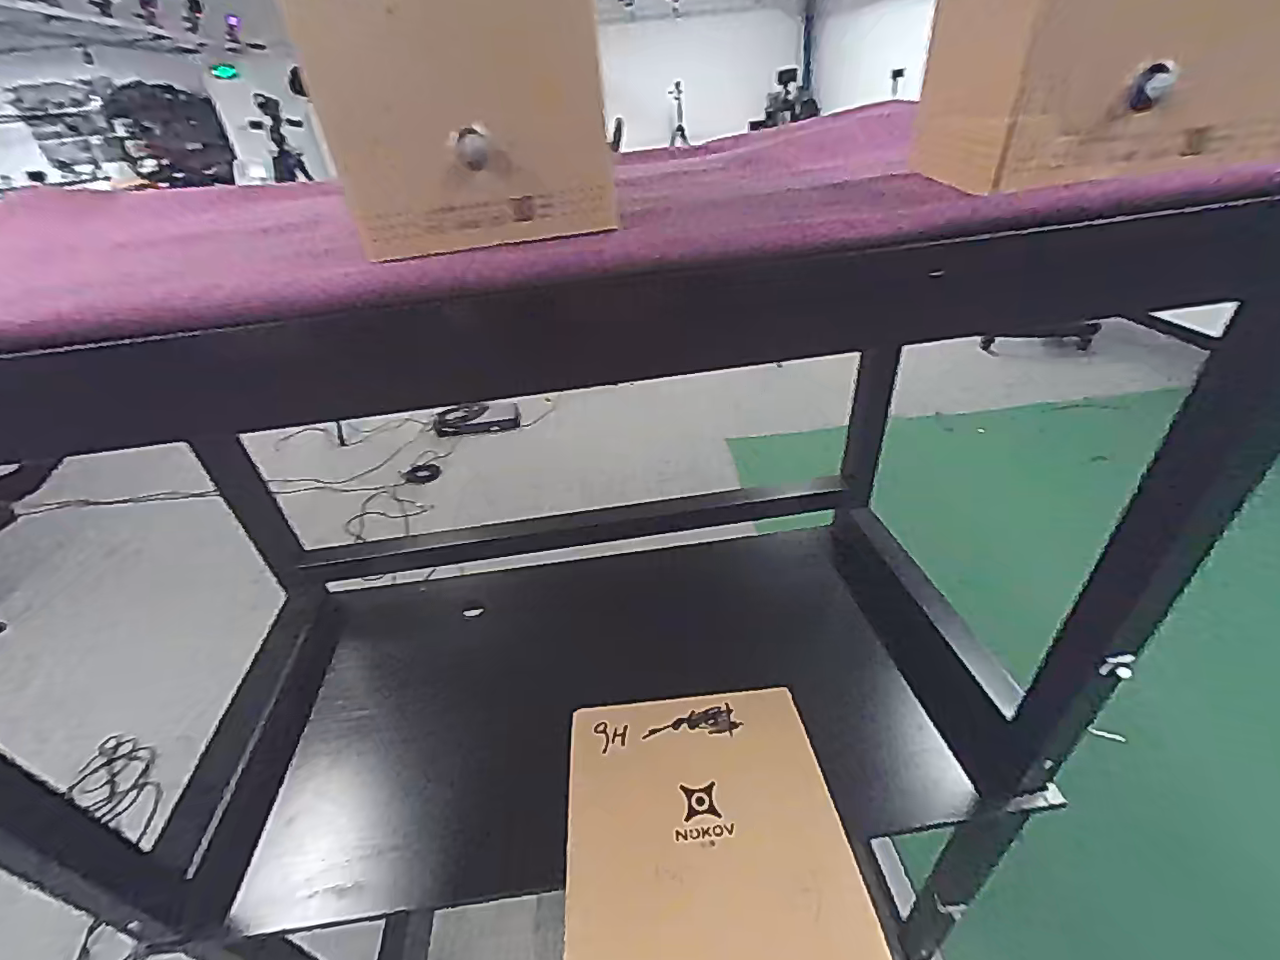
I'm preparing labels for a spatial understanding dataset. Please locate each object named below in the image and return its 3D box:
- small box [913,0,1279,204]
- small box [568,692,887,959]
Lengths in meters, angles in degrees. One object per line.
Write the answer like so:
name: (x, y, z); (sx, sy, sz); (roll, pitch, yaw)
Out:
small box: (0.301, -0.288, 0.353); (0.168, 0.176, 0.179); (-2, 37, 6)
small box: (0.045, 0.280, 0.373); (0.168, 0.176, 0.179); (-5, 31, -2)
